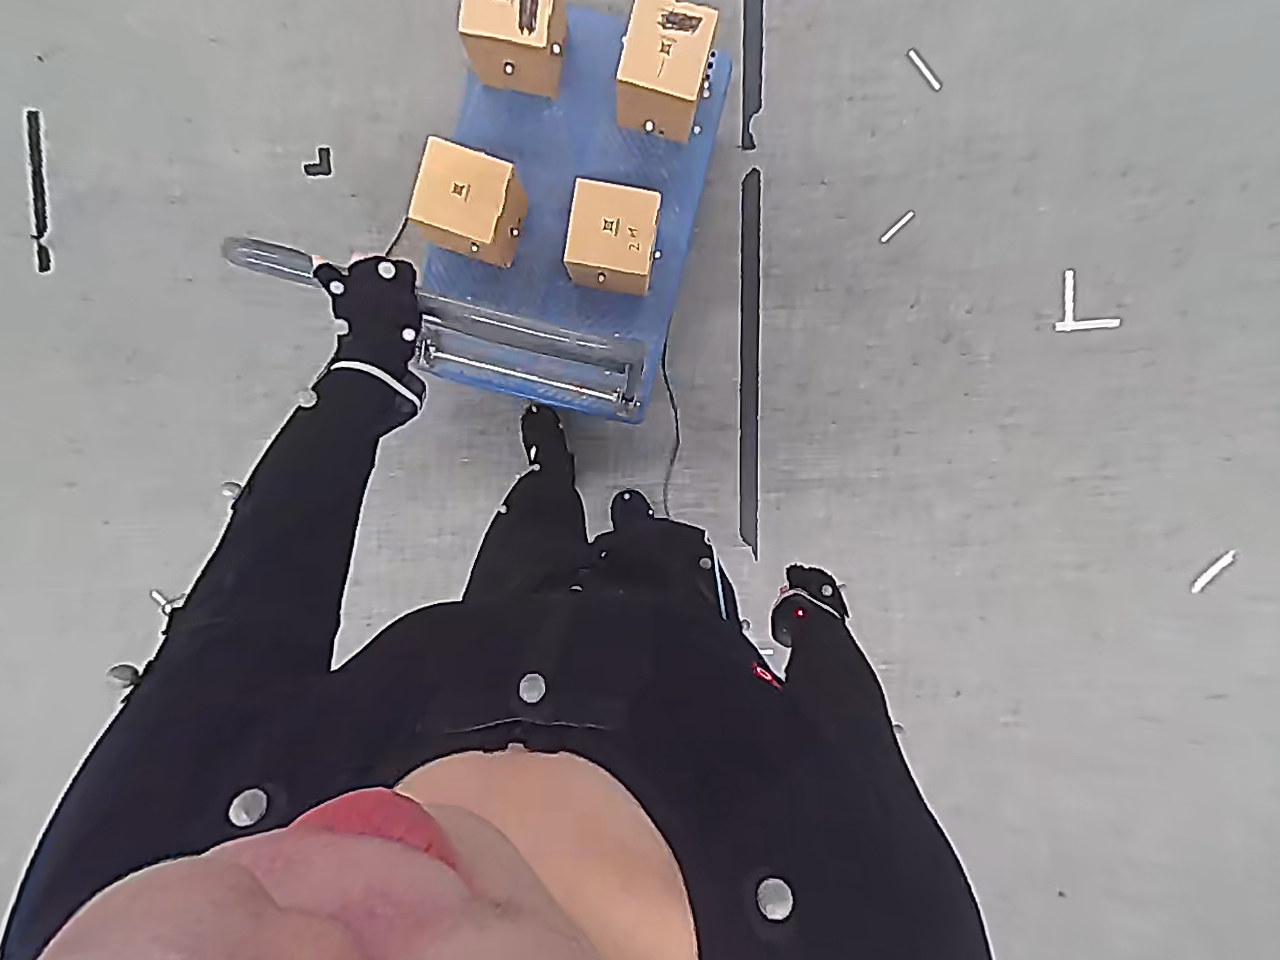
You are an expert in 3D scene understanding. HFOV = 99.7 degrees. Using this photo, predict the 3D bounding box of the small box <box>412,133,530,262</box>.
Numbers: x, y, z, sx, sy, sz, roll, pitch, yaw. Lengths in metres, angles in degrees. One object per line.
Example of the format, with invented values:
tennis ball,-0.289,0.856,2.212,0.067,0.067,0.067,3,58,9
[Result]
small box,-0.351,-0.588,1.152,0.179,0.176,0.168,17,95,-4

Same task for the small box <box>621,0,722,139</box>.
small box,0.058,-0.865,1.132,0.168,0.176,0.179,15,96,-2

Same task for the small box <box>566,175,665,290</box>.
small box,-0.050,-0.520,1.162,0.179,0.176,0.168,10,95,-1
